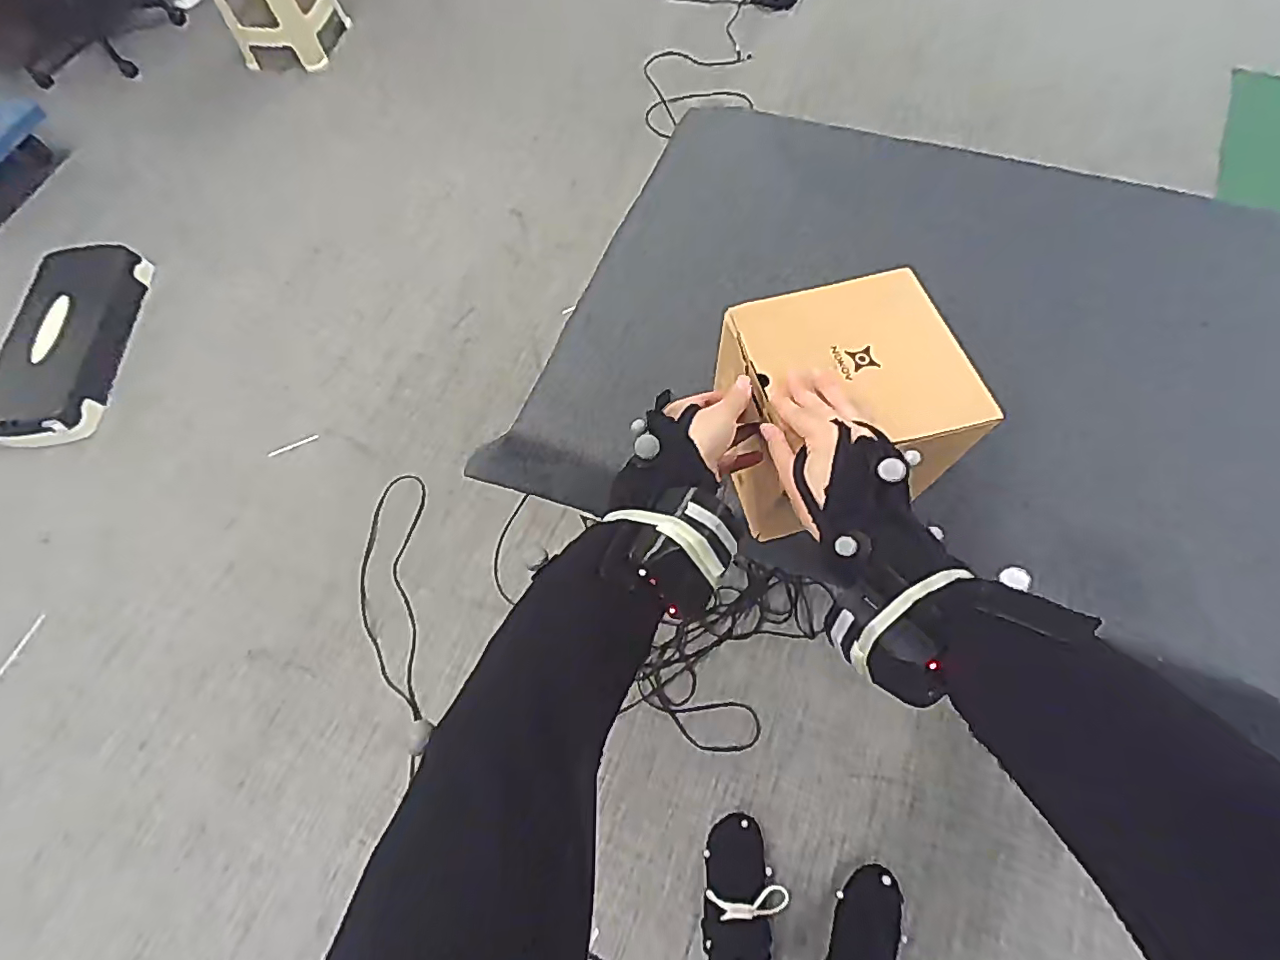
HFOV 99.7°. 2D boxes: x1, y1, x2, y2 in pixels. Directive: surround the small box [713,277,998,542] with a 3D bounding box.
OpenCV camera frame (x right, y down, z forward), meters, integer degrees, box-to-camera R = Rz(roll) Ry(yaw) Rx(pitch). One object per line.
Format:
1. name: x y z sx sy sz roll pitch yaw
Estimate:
1. small box: 0.179 -0.057 0.516 0.179 0.176 0.168 -14 65 -3
